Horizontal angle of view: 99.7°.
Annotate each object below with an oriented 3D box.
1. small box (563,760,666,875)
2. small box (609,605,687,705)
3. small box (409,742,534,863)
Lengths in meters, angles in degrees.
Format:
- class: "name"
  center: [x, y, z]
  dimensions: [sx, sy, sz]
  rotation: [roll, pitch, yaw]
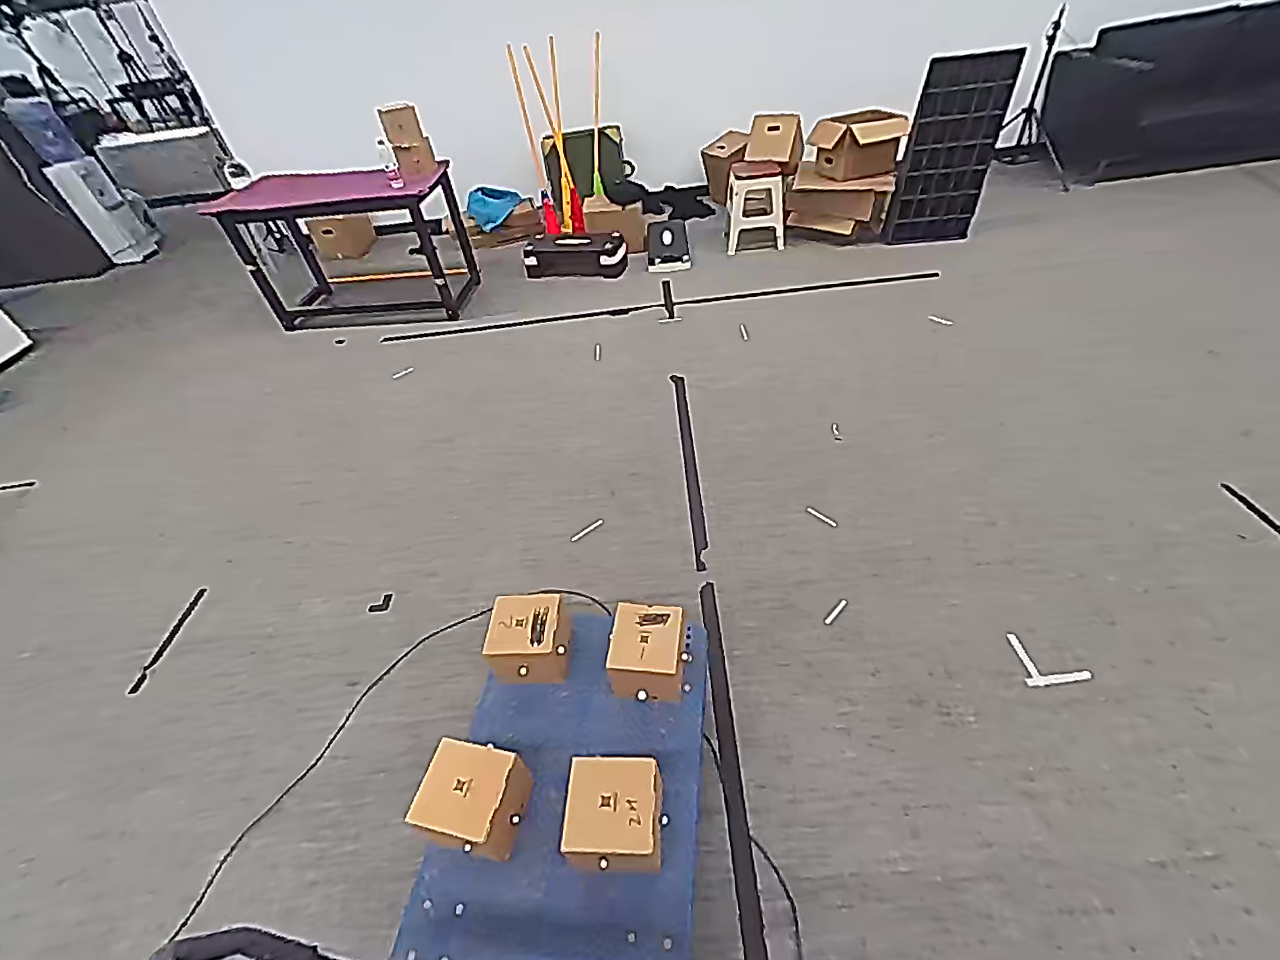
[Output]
- class: "small box"
  center: [-0.043, 0.687, 1.101]
  dimensions: [0.179, 0.176, 0.168]
  rotation: [-2, 45, 7]
- class: "small box"
  center: [0.028, 0.435, 1.347]
  dimensions: [0.168, 0.176, 0.179]
  rotation: [1, 46, 11]
- class: "small box"
  center: [-0.347, 0.687, 1.150]
  dimensions: [0.179, 0.176, 0.168]
  rotation: [6, 45, 12]
